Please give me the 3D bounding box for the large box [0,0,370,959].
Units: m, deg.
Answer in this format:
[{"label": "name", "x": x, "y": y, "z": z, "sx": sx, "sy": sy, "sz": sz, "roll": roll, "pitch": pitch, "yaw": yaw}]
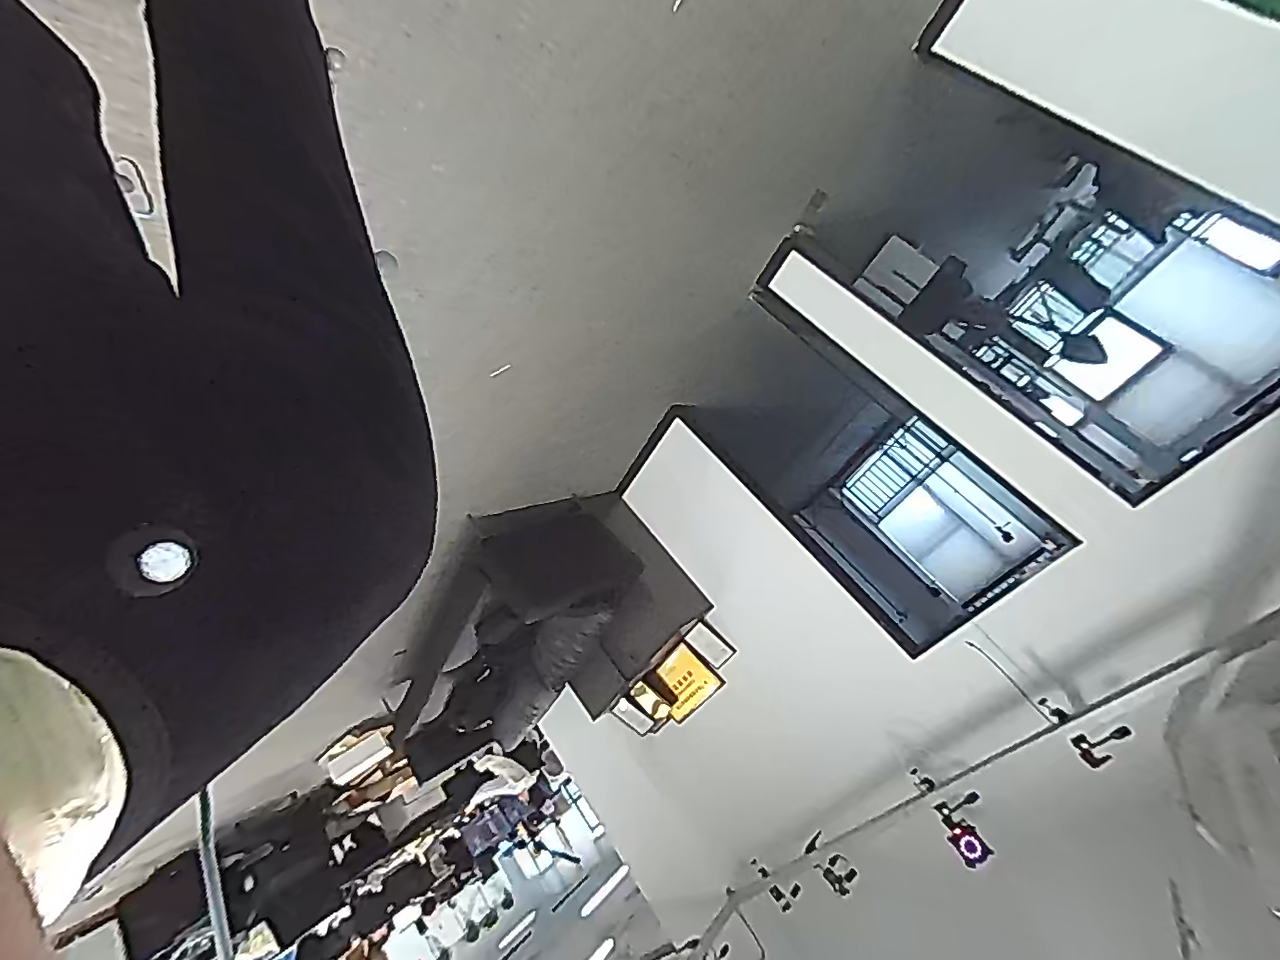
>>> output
[{"label": "large box", "x": -0.334, "y": -0.008, "z": 0.130, "sx": 0.320, "sy": 0.320, "sz": 0.408, "roll": -8, "pitch": 167, "yaw": 6}]
